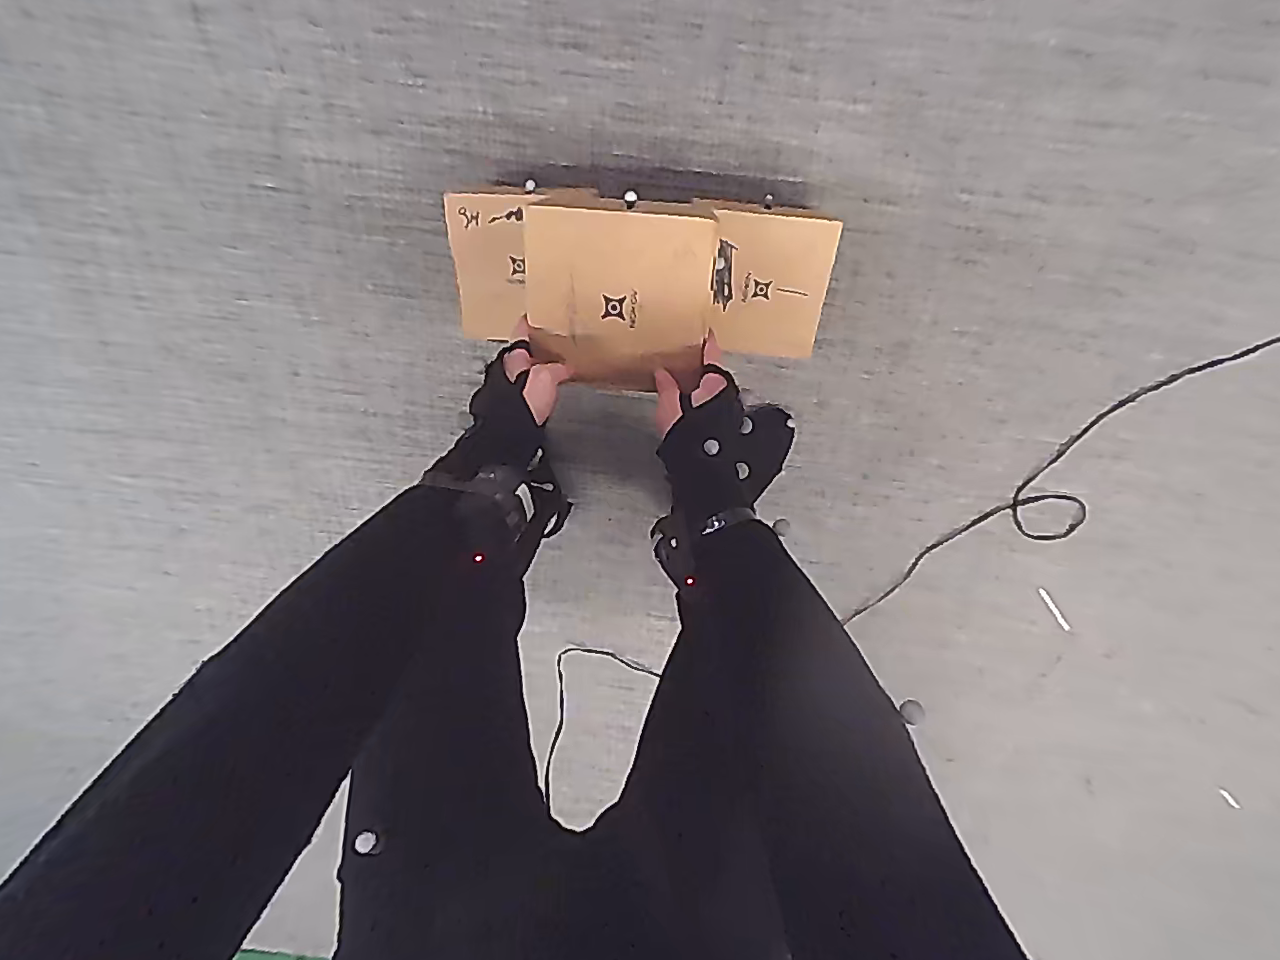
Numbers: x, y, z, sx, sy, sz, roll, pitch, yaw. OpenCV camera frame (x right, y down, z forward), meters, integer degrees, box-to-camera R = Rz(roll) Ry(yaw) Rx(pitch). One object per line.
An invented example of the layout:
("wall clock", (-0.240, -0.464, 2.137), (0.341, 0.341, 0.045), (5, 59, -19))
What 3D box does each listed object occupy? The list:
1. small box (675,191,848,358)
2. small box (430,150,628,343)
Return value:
("small box", (0.150, -0.282, 0.726), (0.179, 0.176, 0.168), (10, 123, 1))
("small box", (-0.136, -0.314, 0.732), (0.179, 0.176, 0.168), (-23, 114, 20))
